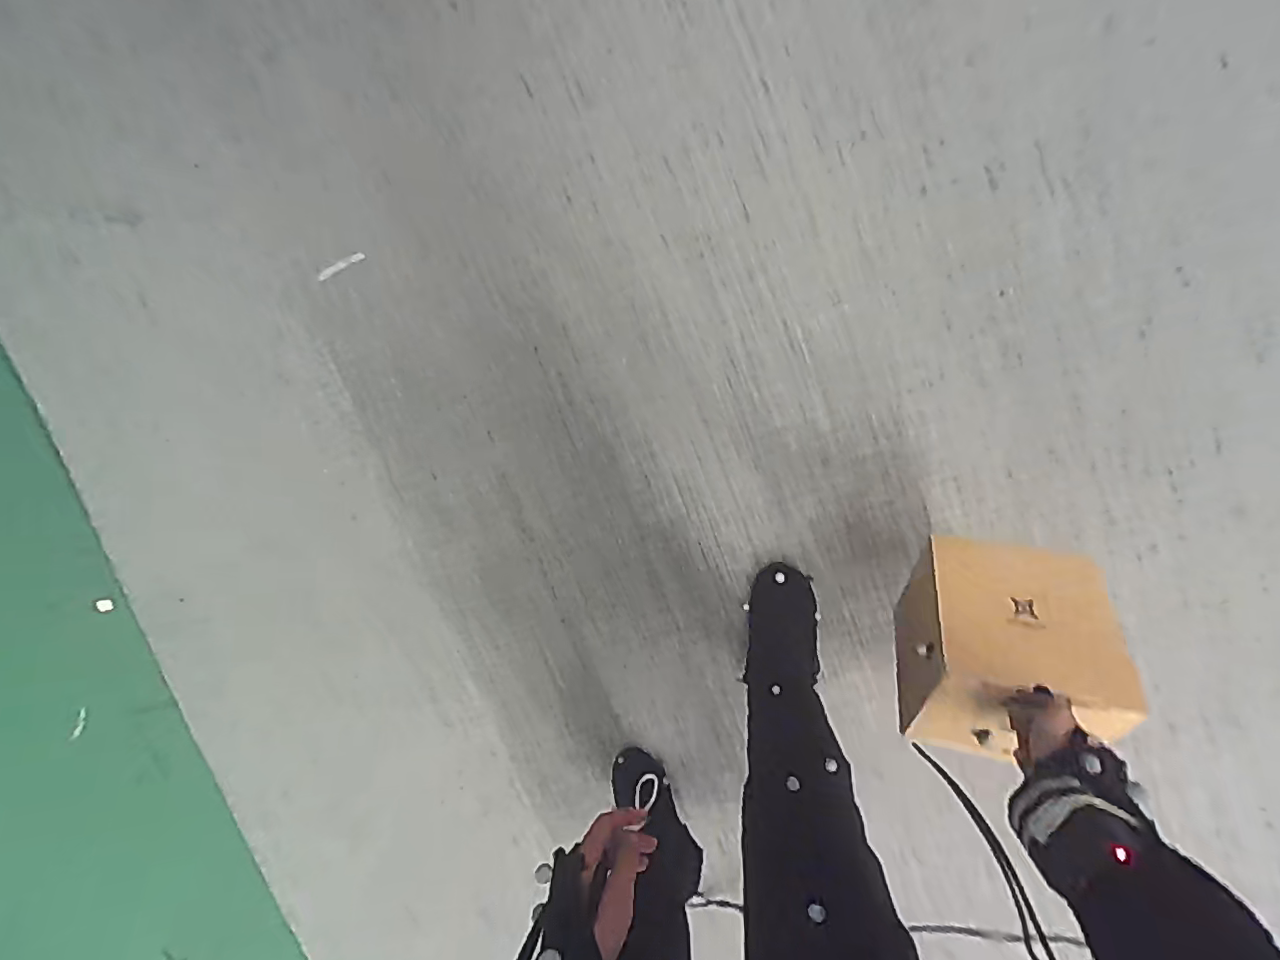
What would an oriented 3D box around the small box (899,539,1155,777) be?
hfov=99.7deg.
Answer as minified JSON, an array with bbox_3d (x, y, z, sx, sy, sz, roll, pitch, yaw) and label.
[{"bbox_3d":[0.393,0.194,0.594,0.168,0.179,0.176,8,139,14],"label":"small box"}]
